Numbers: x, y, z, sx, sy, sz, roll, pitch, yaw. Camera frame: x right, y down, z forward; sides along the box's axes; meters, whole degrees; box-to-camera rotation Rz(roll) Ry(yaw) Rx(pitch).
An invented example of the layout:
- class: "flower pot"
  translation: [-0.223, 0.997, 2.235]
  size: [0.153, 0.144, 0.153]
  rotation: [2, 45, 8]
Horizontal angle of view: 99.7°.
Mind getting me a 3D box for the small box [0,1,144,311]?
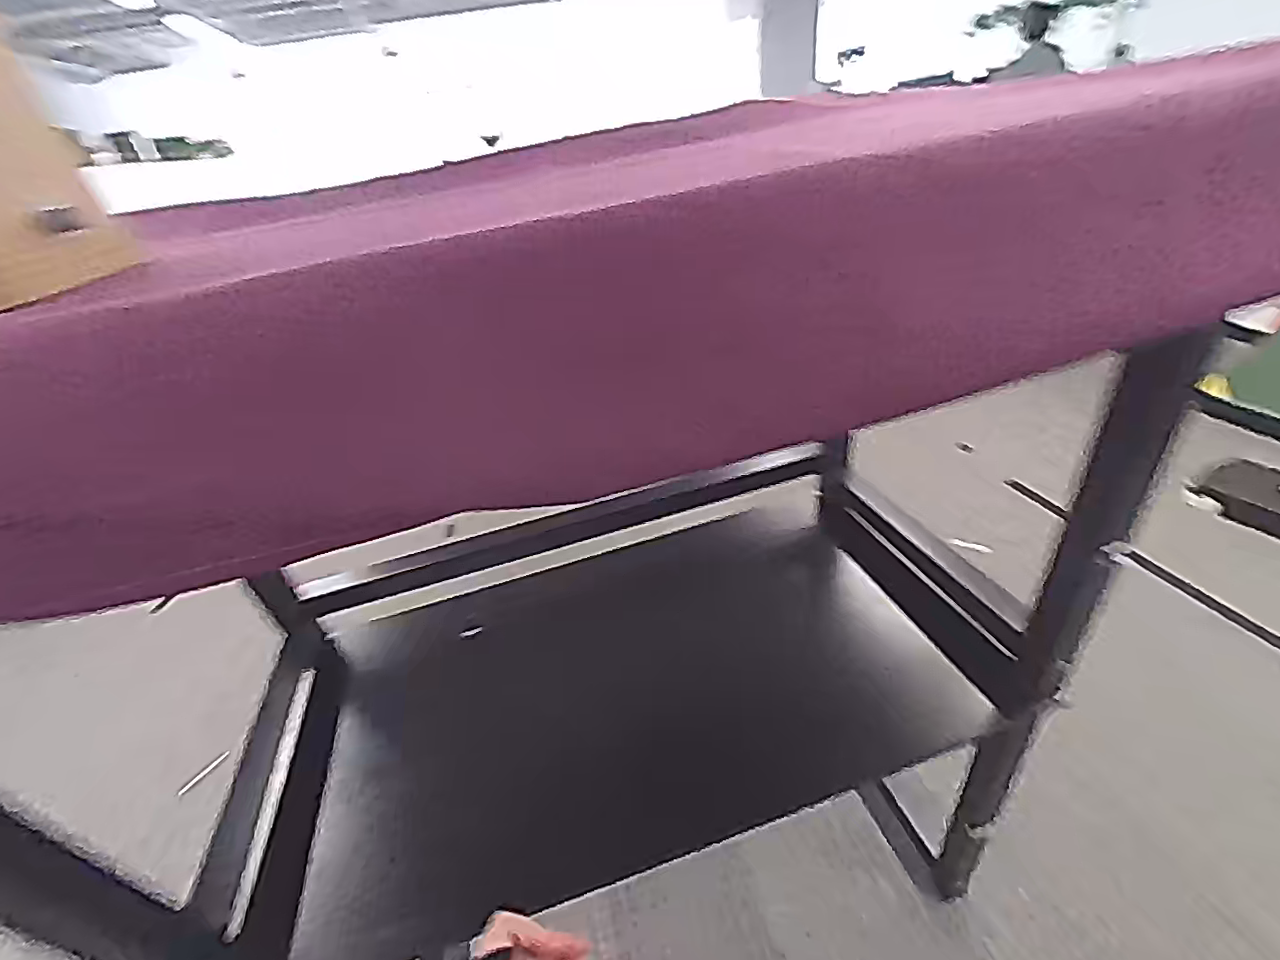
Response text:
- class: "small box"
  translation: [-0.471, -0.195, 0.333]
  size: [0.168, 0.176, 0.179]
  rotation: [-16, 34, -9]
